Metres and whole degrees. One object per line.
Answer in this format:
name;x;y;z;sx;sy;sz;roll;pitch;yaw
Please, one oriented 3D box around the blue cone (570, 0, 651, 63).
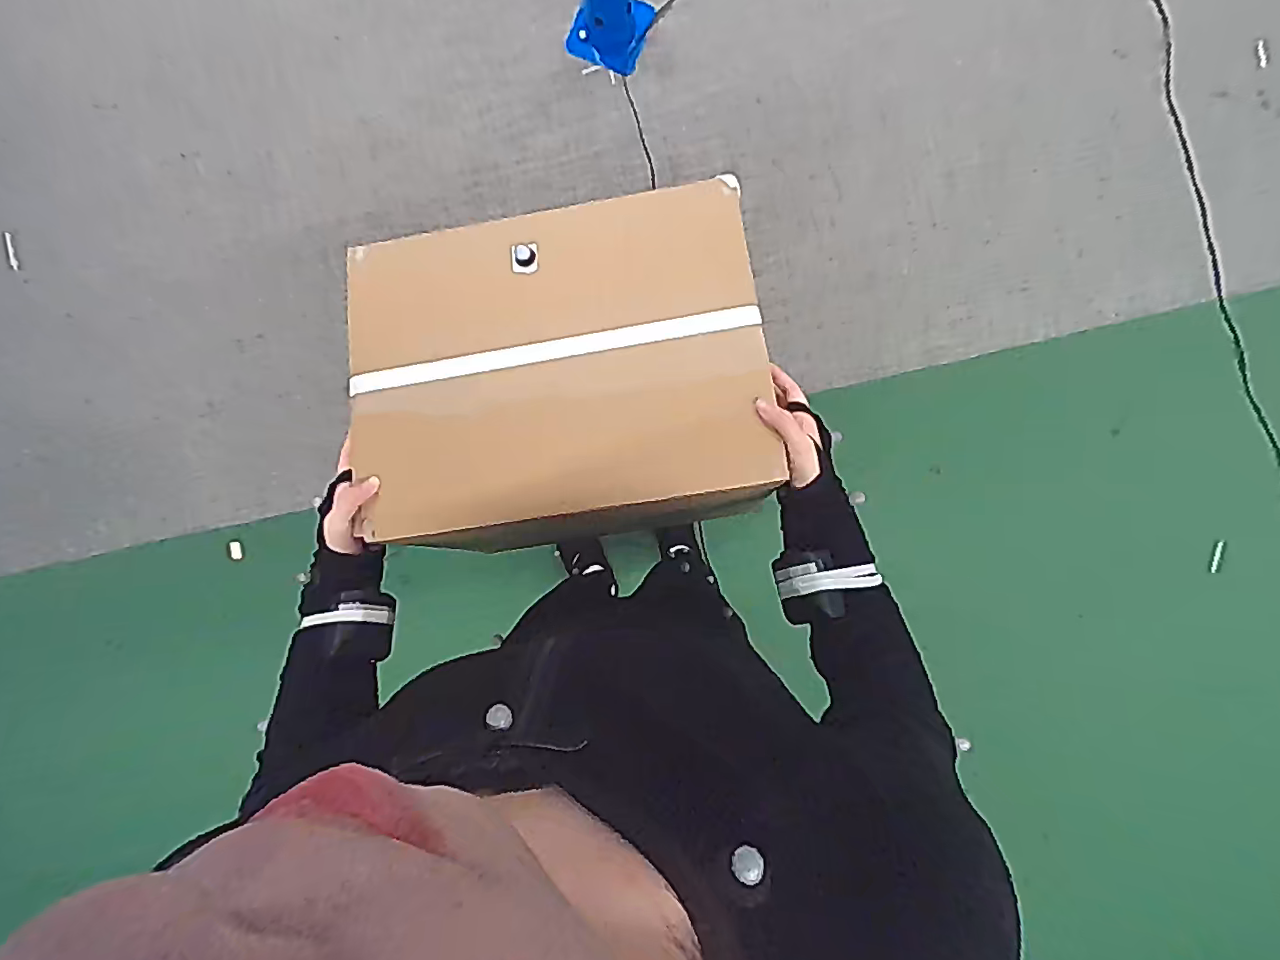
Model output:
blue cone;-0.082;-1.217;1.277;0.192;0.380;0.193;20;92;1
